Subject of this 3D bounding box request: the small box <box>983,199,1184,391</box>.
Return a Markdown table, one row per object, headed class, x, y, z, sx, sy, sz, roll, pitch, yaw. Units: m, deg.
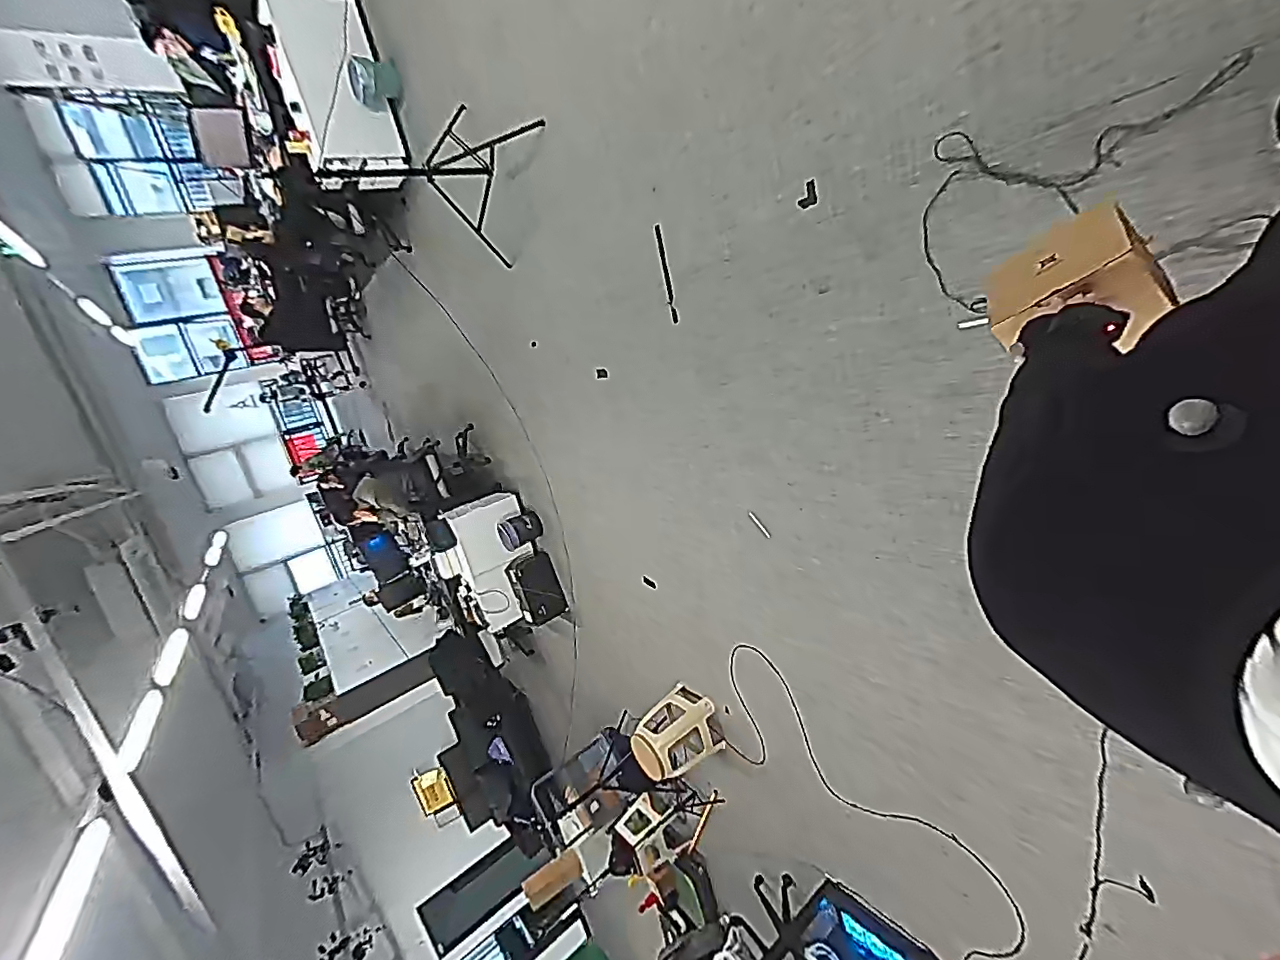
| class | x | y | z | sx | sy | sz | roll | pitch | yaw |
| --- | --- | --- | --- | --- | --- | --- | --- | --- | --- |
| small box | 0.625 | -0.251 | 0.776 | 0.176 | 0.179 | 0.168 | 40 | 141 | -16 |
